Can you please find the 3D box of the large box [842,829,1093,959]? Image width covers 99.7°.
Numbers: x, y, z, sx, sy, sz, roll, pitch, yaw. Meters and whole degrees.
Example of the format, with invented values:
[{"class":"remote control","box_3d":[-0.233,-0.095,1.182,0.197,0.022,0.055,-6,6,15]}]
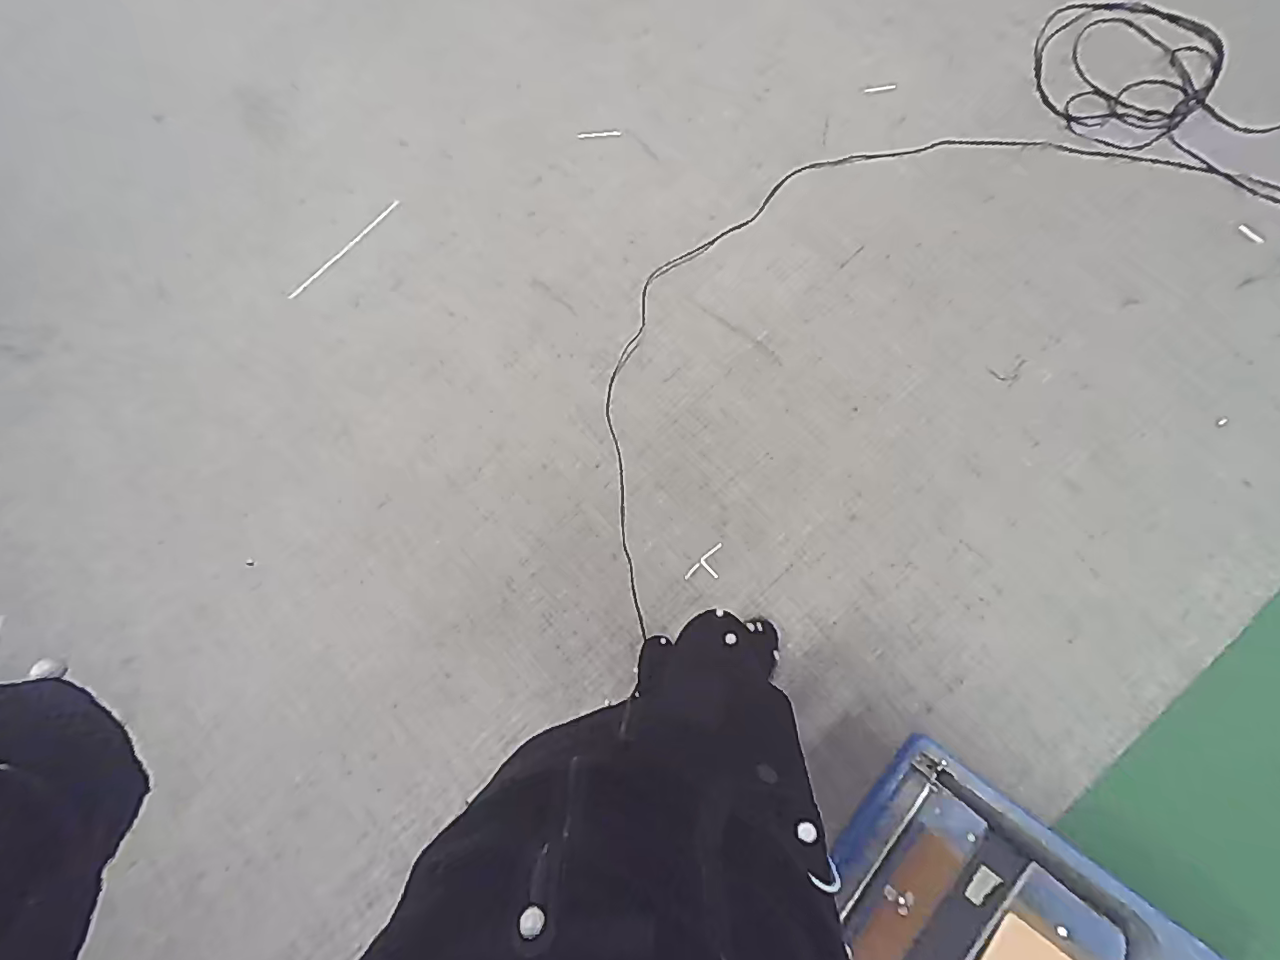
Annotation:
[{"class":"large box","box_3d":[0.641,0.929,0.944,0.408,0.320,0.320,36,84,11]}]
